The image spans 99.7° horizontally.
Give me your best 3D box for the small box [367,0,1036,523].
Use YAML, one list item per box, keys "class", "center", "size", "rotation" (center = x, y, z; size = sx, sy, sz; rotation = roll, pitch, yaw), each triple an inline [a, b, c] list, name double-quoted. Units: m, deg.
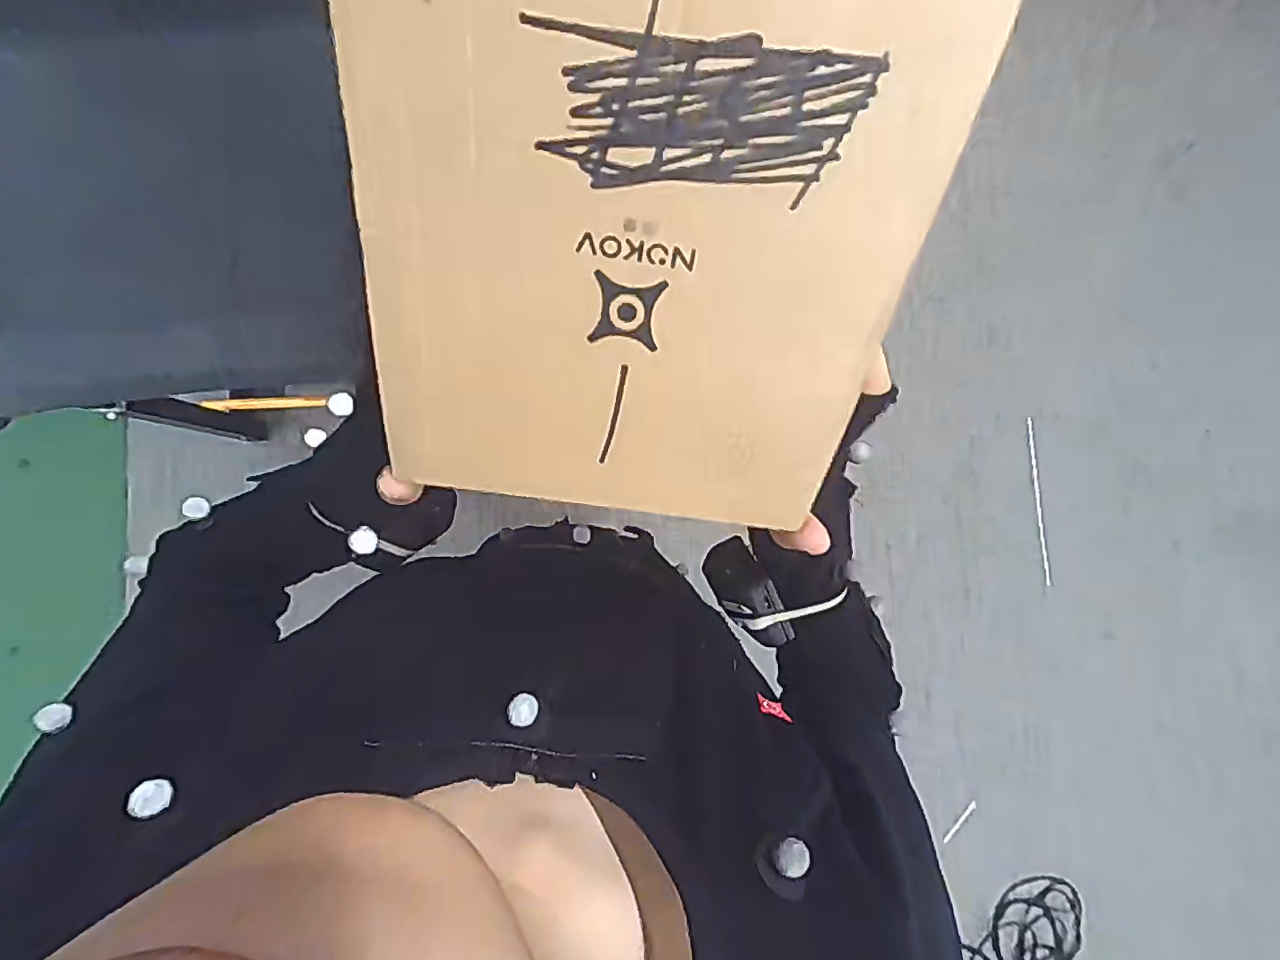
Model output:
- class: "small box"
  center: [0.004, -0.108, 0.234]
  size: [0.168, 0.176, 0.179]
  rotation: [8, 123, -5]
